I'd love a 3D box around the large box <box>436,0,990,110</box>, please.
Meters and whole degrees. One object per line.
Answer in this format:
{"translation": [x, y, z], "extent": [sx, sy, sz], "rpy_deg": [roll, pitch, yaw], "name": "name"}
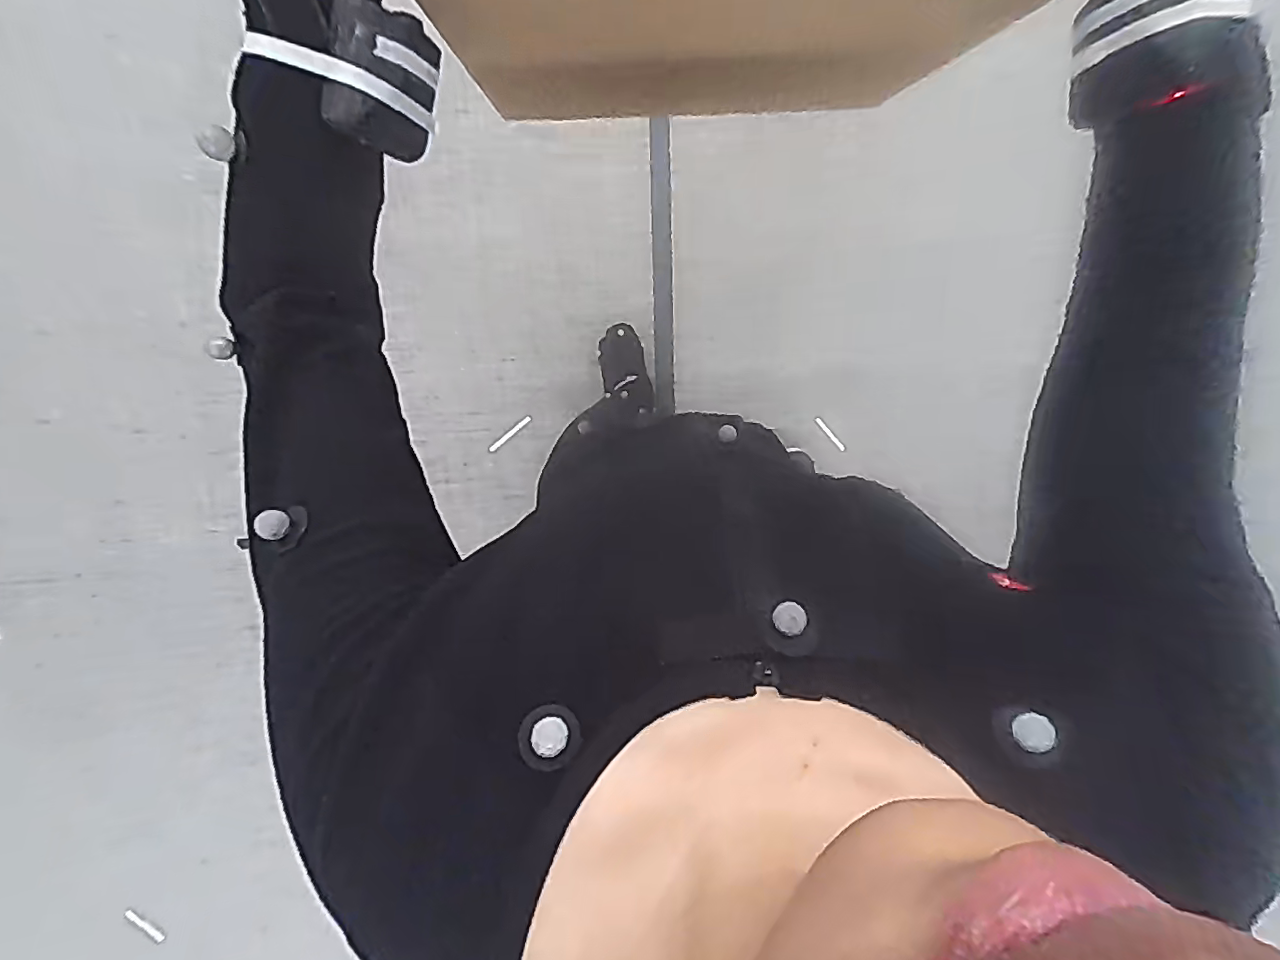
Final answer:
{"translation": [0.050, -0.491, 0.380], "extent": [0.408, 0.320, 0.320], "rpy_deg": [-4, 112, -2], "name": "large box"}
